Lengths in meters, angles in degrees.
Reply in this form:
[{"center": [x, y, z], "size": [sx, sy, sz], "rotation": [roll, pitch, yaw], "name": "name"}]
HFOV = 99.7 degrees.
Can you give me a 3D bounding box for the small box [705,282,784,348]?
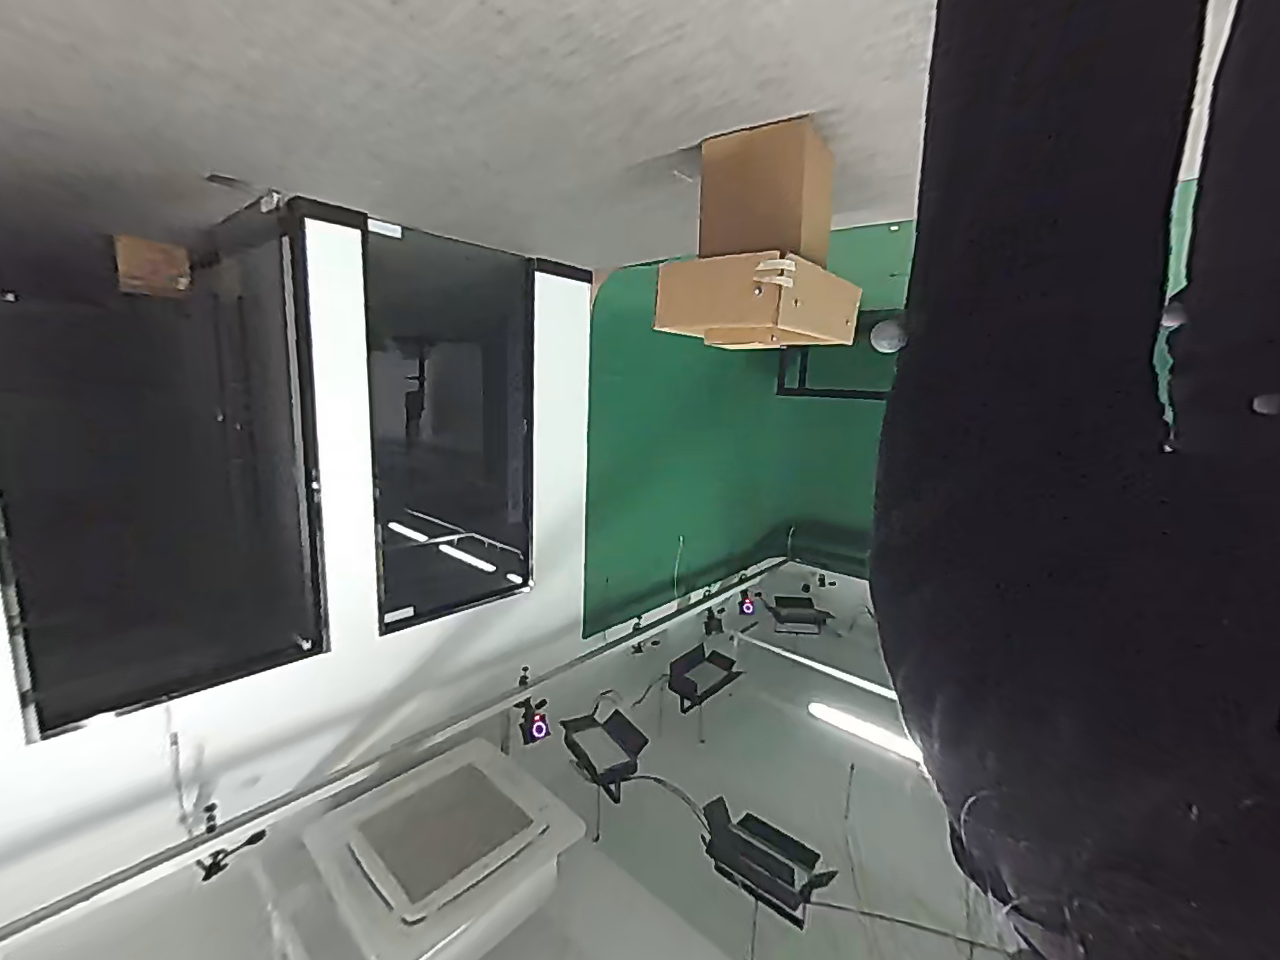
[{"center": [0.312, -0.487, 1.609], "size": [0.179, 0.176, 0.168], "rotation": [10, -166, 36], "name": "small box"}]
